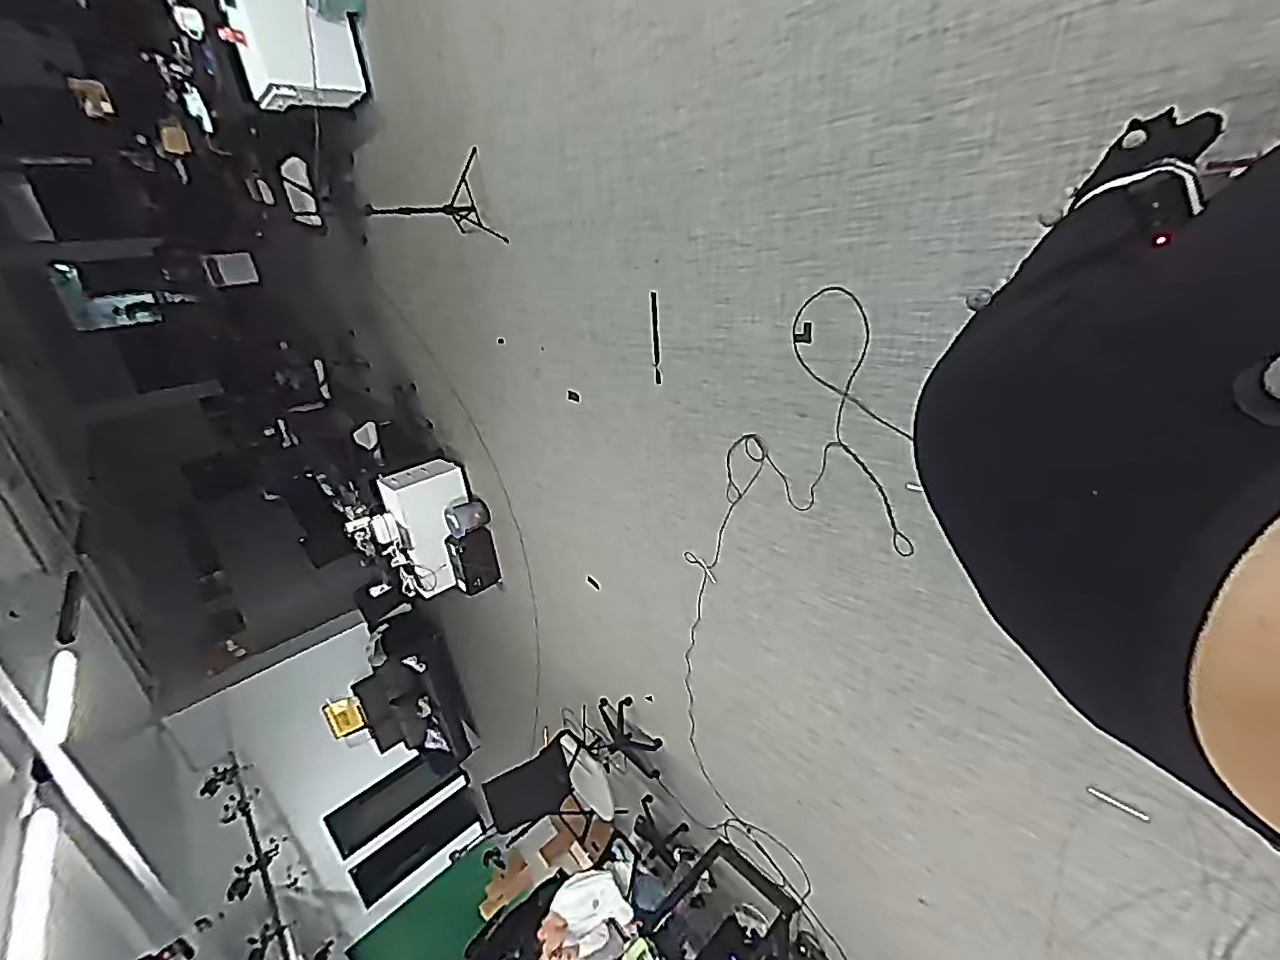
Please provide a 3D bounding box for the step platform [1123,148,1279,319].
[{"bbox_3d":[1.259,-0.422,0.894,0.684,0.204,0.286,17,123,44],"label":"step platform"}]
